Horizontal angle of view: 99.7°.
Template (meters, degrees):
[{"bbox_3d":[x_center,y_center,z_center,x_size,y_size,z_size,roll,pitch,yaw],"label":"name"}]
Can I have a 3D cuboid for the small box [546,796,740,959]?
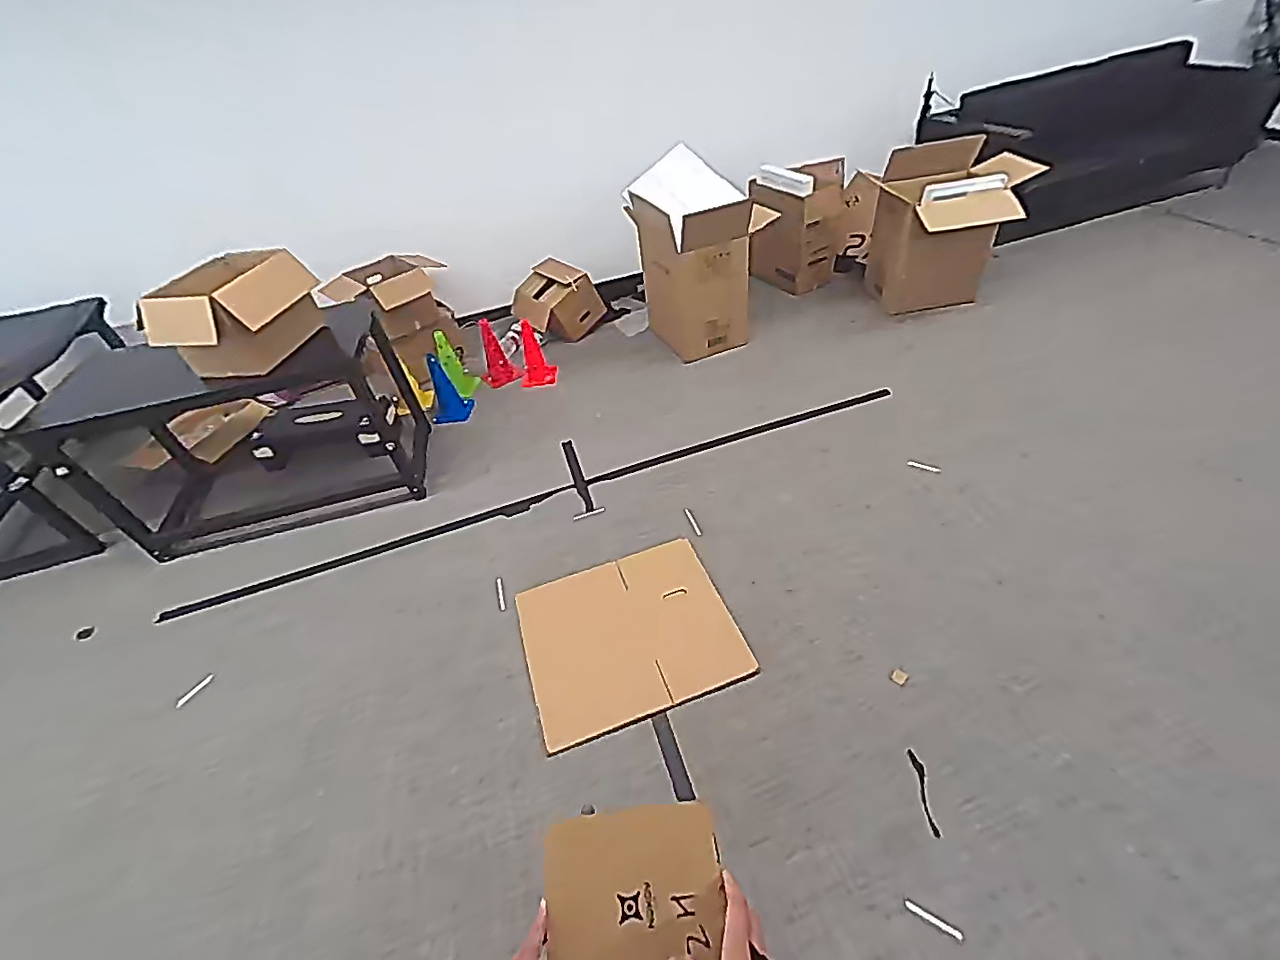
[{"bbox_3d":[-0.005,0.456,0.574,0.179,0.176,0.168,-2,48,-8],"label":"small box"}]
